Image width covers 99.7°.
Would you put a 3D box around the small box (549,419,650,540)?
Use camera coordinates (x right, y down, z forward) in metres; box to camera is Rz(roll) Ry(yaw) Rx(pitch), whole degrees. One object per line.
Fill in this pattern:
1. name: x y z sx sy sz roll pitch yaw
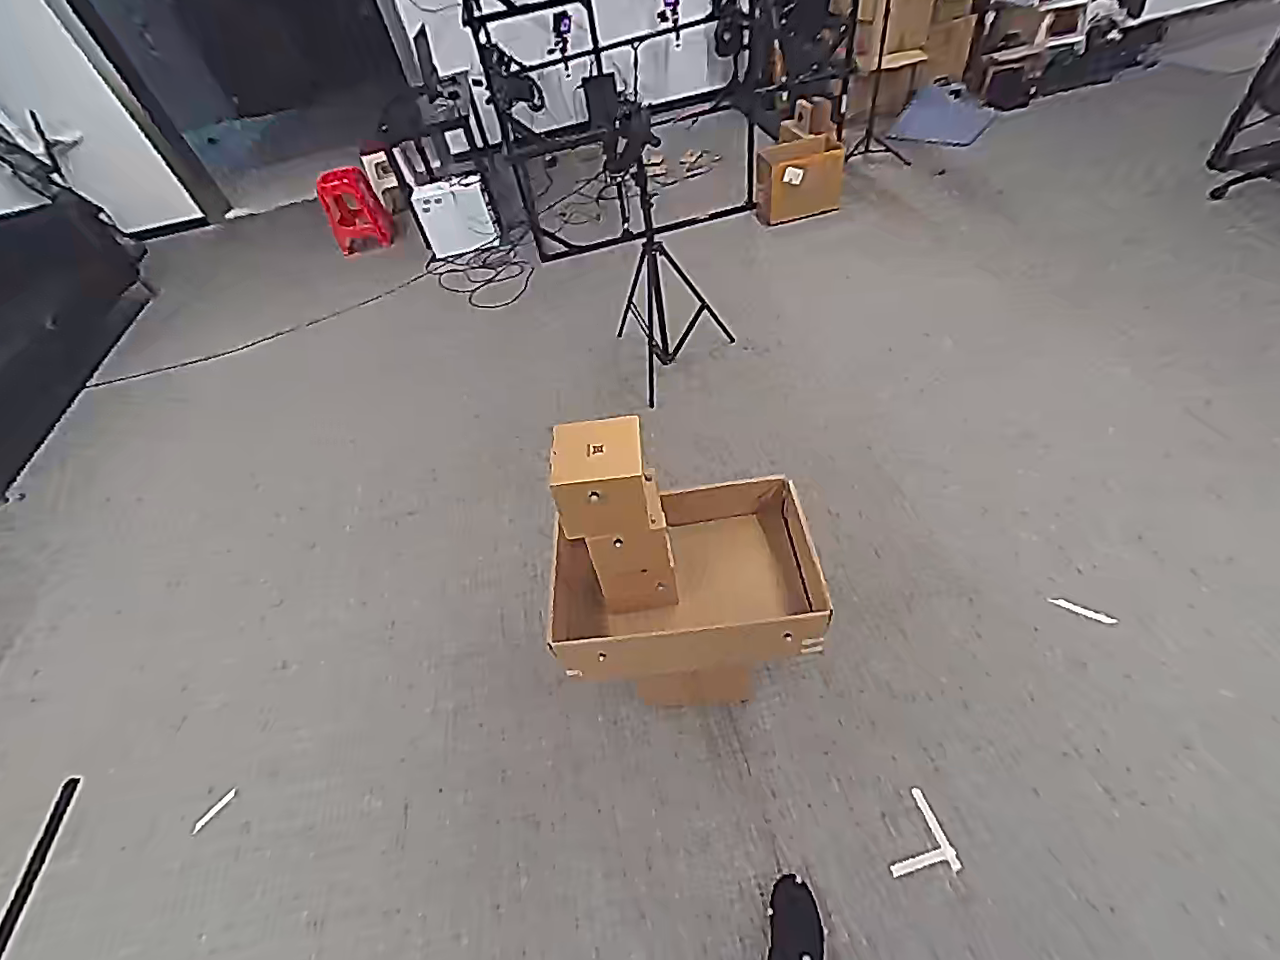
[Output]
1. small box: -0.074 0.002 1.087 0.179 0.176 0.168 -7 48 4

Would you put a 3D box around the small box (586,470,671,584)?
1. small box: -0.028 0.106 1.206 0.168 0.176 0.179 -9 47 2
